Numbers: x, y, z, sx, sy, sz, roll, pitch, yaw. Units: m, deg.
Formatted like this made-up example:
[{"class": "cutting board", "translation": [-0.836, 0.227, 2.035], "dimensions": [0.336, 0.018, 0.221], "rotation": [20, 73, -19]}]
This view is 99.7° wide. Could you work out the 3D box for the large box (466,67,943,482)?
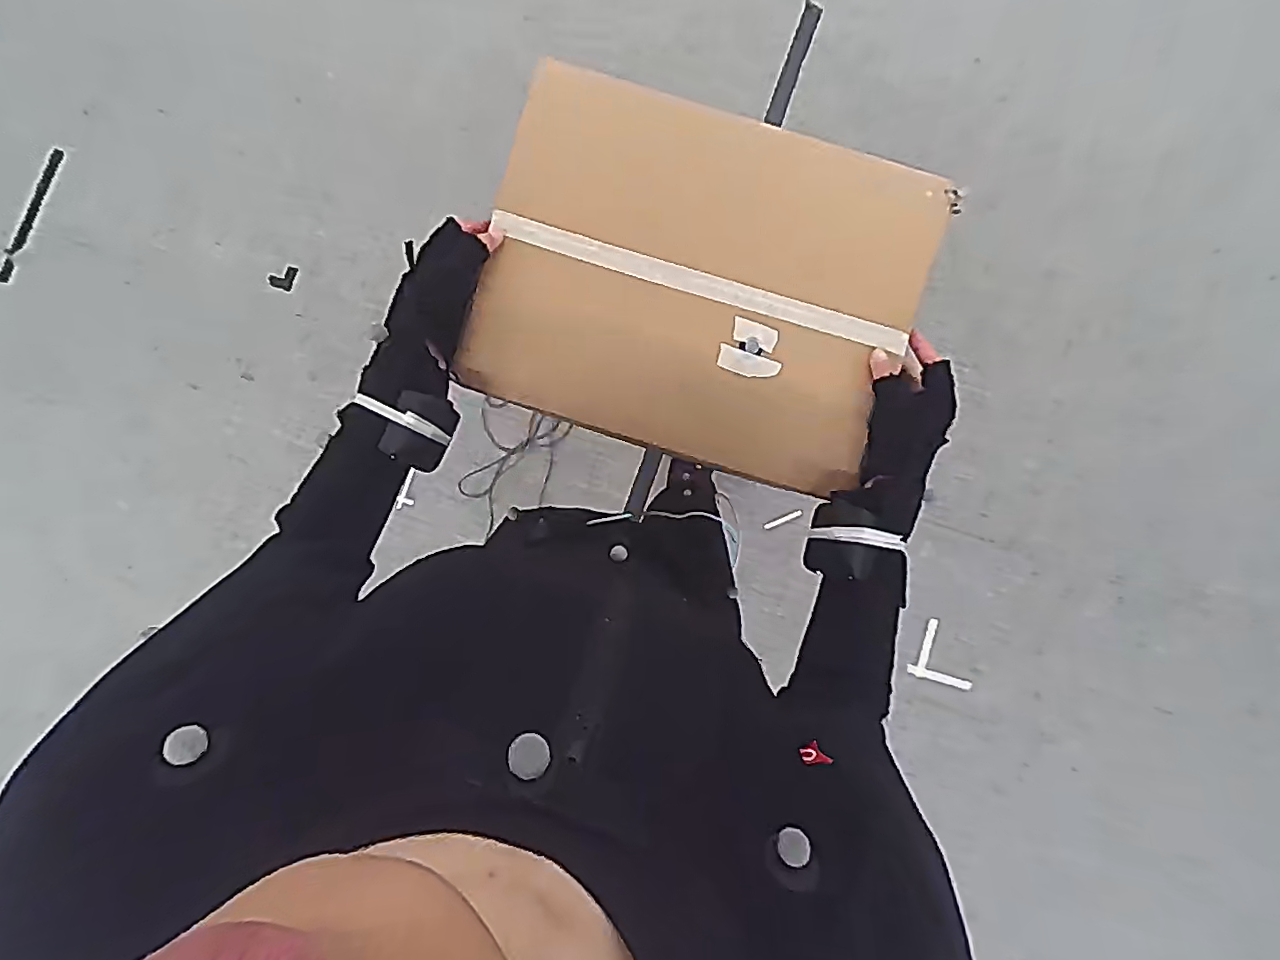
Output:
[{"class": "large box", "translation": [0.060, -0.204, 0.672], "dimensions": [0.408, 0.320, 0.320], "rotation": [17, 94, 0]}]
